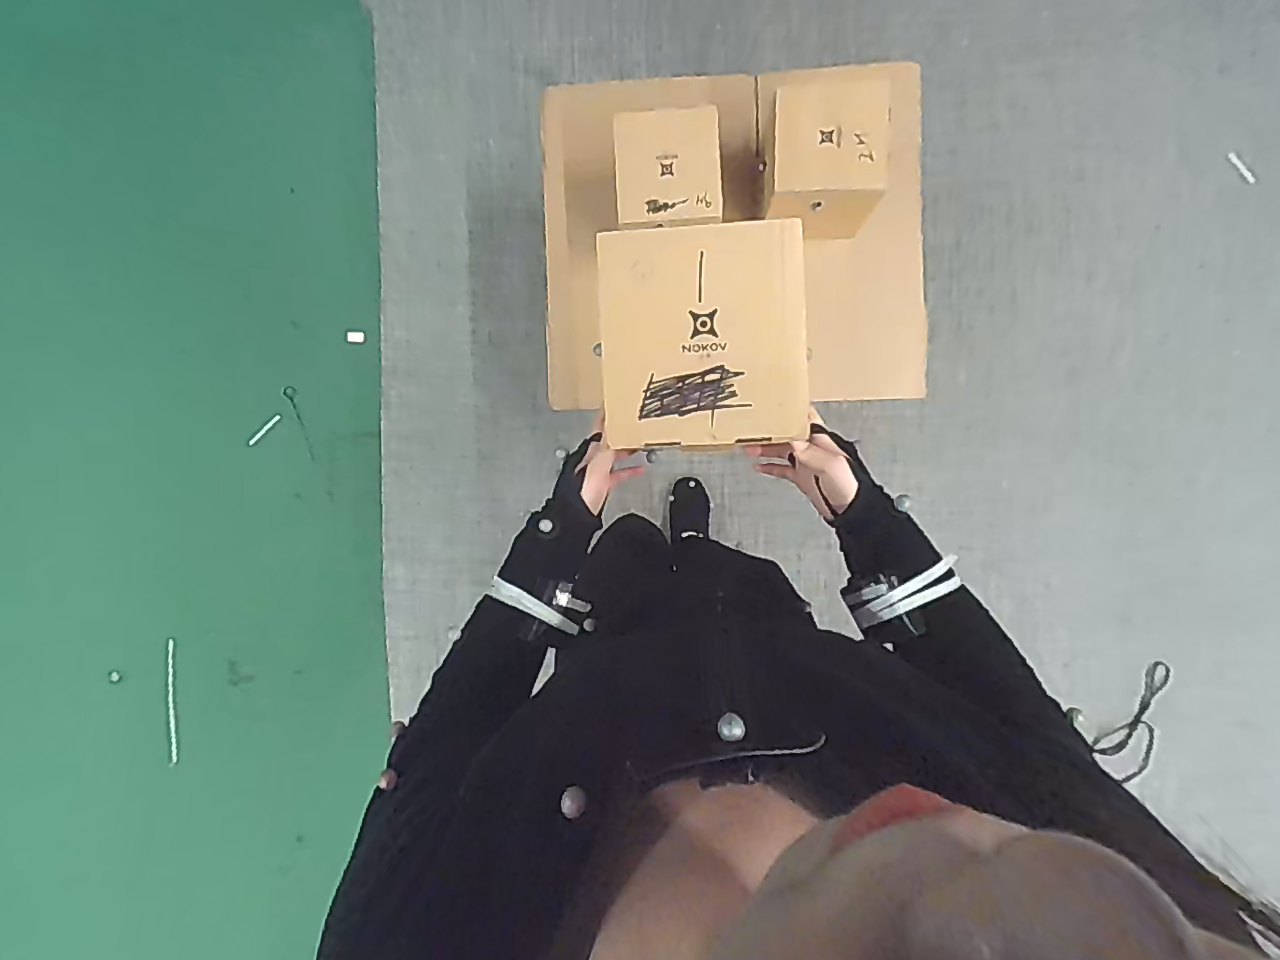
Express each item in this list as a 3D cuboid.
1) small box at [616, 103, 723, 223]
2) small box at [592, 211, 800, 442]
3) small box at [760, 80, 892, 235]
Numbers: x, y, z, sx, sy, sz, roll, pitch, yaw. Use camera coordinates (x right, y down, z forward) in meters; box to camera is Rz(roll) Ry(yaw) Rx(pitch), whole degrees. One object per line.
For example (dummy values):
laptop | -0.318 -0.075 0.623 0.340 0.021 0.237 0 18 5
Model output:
small box | 0.049 -0.494 0.918 0.168 0.176 0.179 -2 90 4
small box | 0.051 -0.126 0.513 0.168 0.176 0.179 -2 91 4
small box | 0.299 -0.526 0.904 0.179 0.176 0.168 2 91 5
